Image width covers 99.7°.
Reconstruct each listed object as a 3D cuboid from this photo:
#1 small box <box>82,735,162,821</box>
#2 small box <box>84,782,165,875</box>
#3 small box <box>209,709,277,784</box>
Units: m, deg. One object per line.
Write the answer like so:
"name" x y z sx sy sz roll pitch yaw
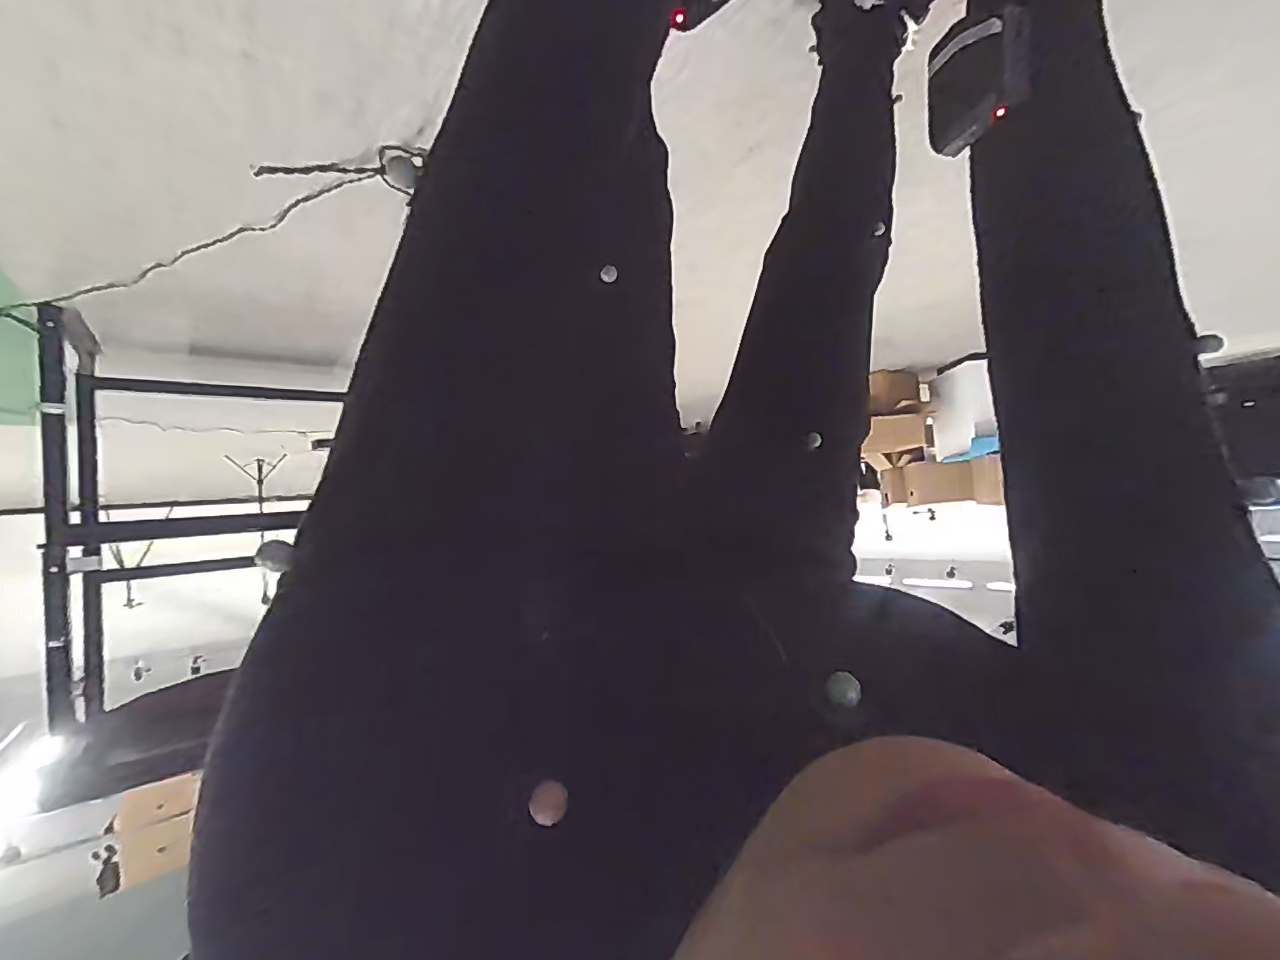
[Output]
"small box" -1.662 0.943 1.739 0.179 0.176 0.168 -2 179 -43
"small box" -1.651 1.106 1.736 0.179 0.176 0.168 -4 180 -37
"small box" -1.415 0.937 1.925 0.179 0.176 0.168 -2 178 -41
